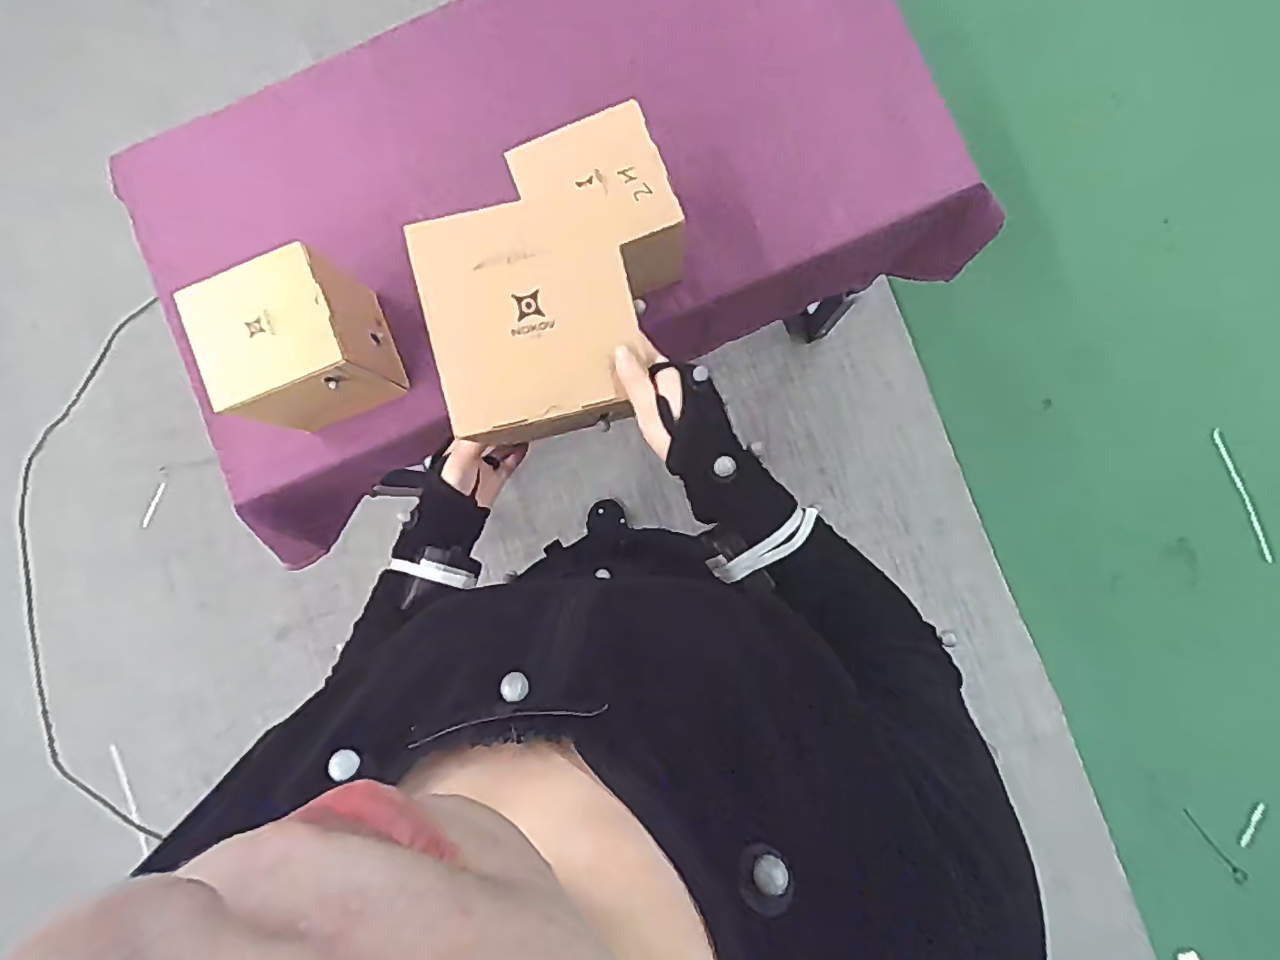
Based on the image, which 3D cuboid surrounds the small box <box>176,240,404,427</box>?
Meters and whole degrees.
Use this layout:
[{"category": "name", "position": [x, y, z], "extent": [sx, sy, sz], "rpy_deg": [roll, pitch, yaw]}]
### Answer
[{"category": "small box", "position": [-0.462, -0.185, 0.740], "extent": [0.179, 0.176, 0.168], "rpy_deg": [-22, 86, 0]}]

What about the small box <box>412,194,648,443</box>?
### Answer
[{"category": "small box", "position": [-0.091, -0.135, 0.521], "extent": [0.168, 0.176, 0.179], "rpy_deg": [-13, 91, -3]}]

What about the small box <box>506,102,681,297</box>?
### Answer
[{"category": "small box", "position": [-0.052, -0.347, 0.729], "extent": [0.179, 0.176, 0.168], "rpy_deg": [-21, 87, 1]}]
